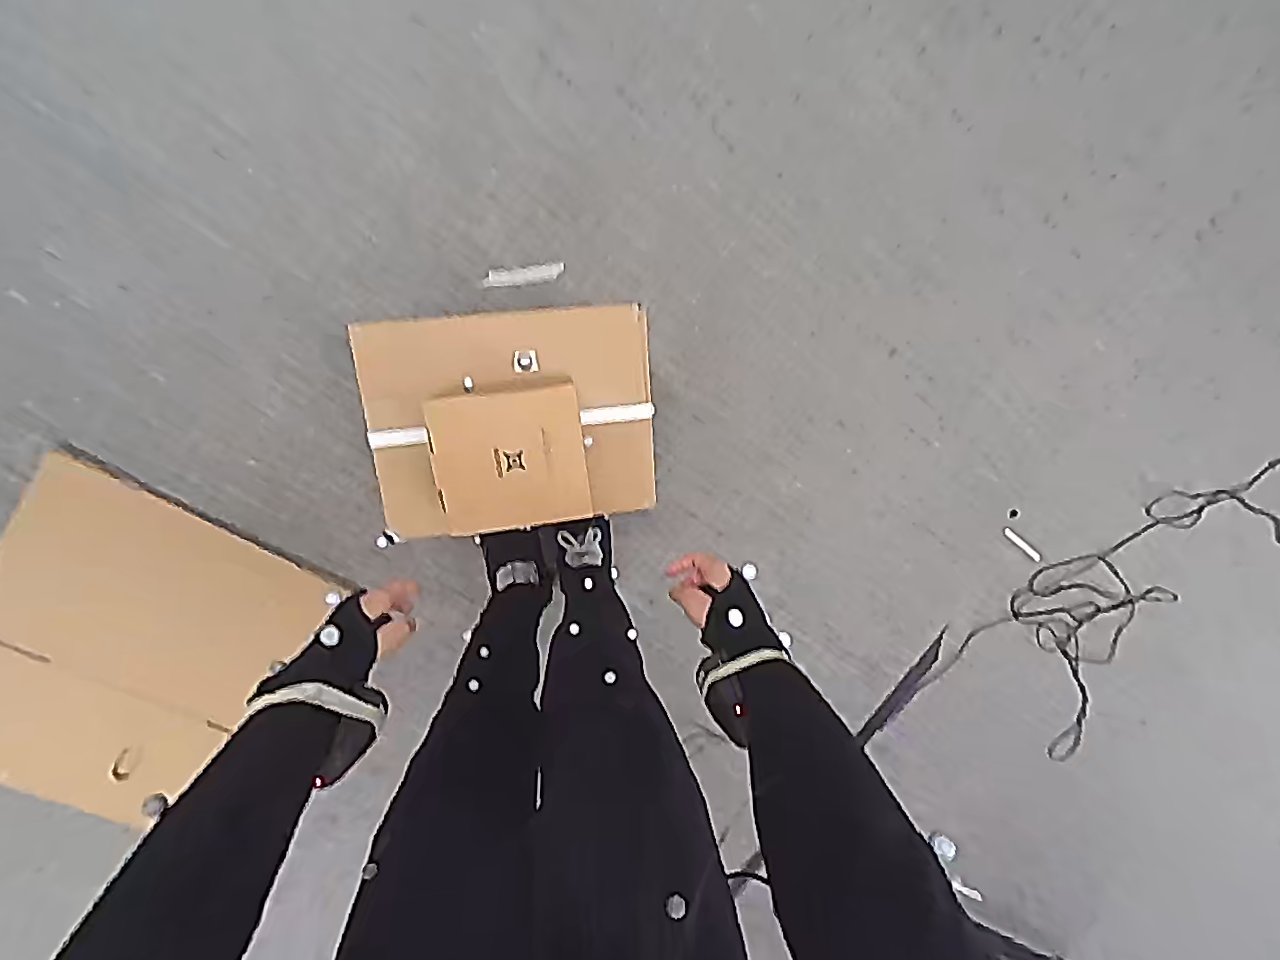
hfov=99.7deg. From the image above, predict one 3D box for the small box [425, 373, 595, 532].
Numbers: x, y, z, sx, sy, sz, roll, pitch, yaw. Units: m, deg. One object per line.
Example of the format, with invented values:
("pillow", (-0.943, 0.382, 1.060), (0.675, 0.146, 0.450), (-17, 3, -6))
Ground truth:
("small box", (-0.160, -0.046, 0.712), (0.179, 0.176, 0.168), (-9, 106, -8))
